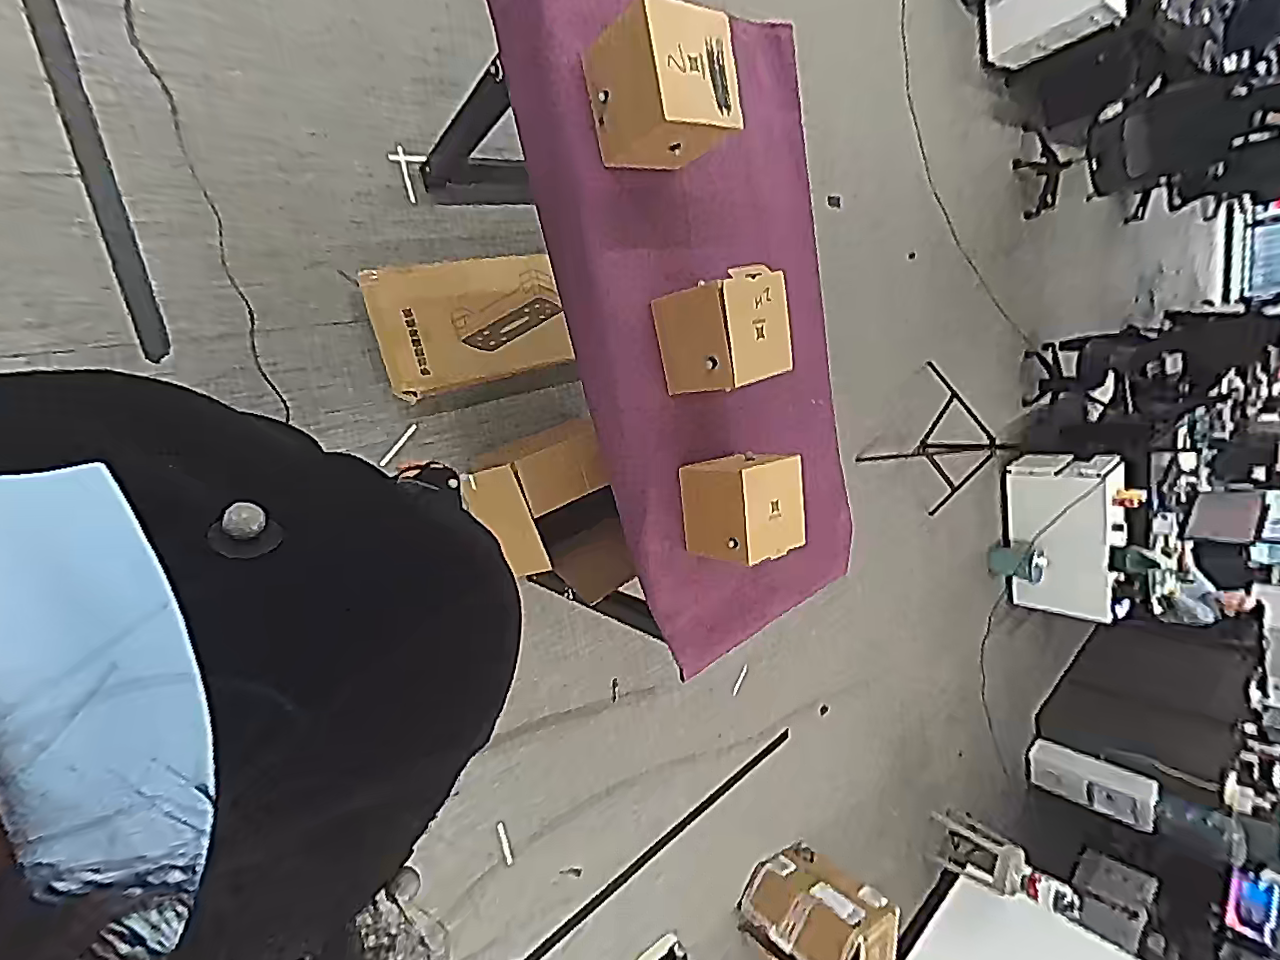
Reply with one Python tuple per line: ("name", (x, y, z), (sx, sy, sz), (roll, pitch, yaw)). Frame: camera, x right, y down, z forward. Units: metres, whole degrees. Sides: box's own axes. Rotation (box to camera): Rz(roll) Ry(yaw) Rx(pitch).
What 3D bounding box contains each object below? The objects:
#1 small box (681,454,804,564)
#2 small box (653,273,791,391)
("small box", (0.193, 0.047, 1.044), (0.168, 0.176, 0.179), (-13, 102, -36))
("small box", (0.147, -0.263, 0.983), (0.168, 0.176, 0.179), (-23, 107, -37))
